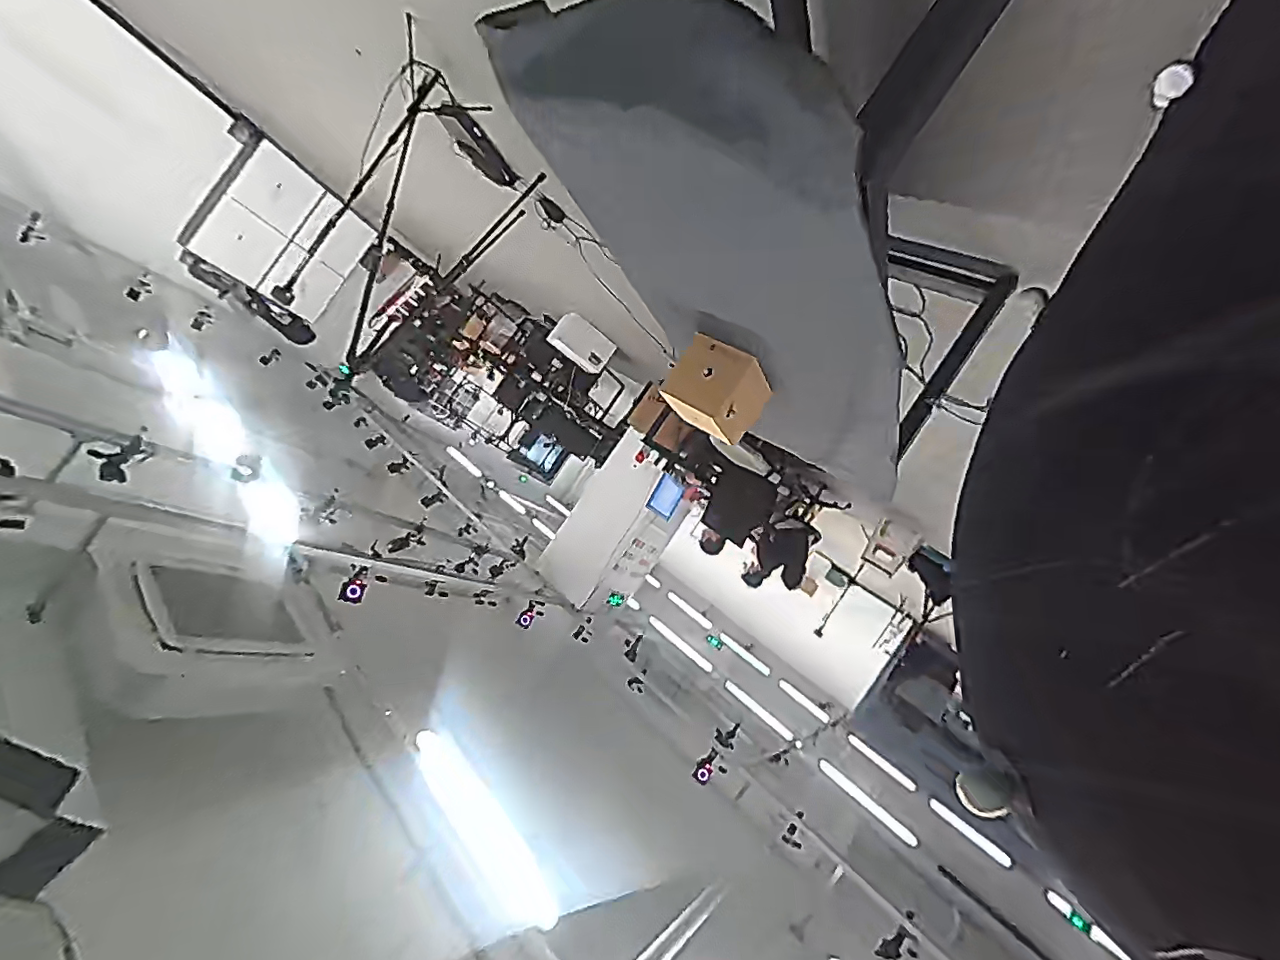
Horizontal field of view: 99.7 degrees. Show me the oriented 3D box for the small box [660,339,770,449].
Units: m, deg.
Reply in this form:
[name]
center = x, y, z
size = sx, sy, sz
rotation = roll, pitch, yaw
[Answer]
[small box]
center = 0.183, -0.206, 1.281
size = 0.168, 0.176, 0.179
rotation = 34, 179, 32
